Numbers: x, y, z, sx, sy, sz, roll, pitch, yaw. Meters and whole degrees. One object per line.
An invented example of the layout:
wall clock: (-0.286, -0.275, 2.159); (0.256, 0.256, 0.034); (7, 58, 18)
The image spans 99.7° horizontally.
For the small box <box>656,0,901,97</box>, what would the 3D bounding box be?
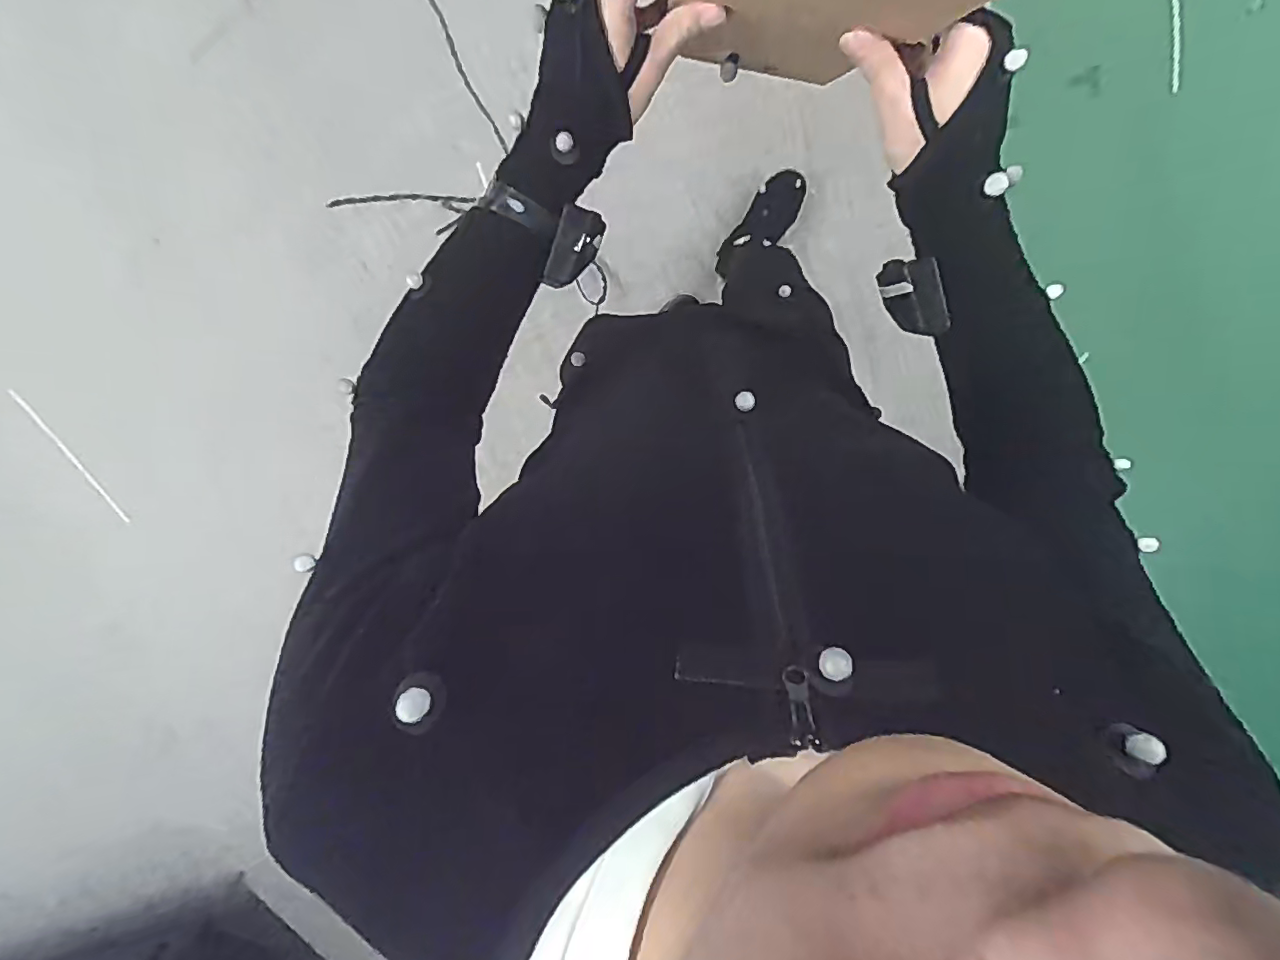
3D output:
small box: (0.106, -0.414, 0.399); (0.168, 0.176, 0.179); (7, 116, -5)

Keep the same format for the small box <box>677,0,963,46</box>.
small box: (0.109, -0.337, 0.254); (0.179, 0.176, 0.168); (7, 116, -5)
